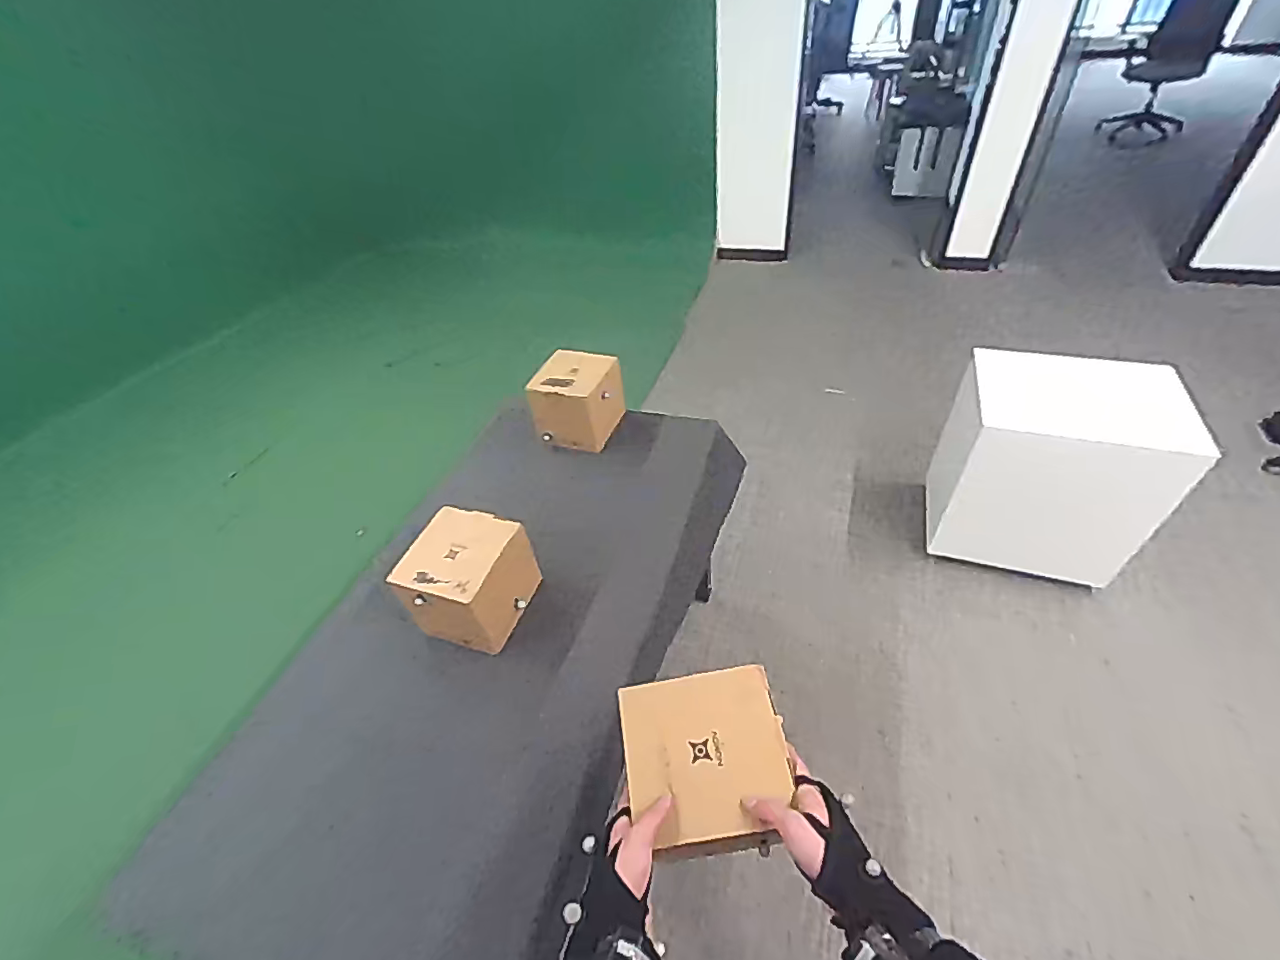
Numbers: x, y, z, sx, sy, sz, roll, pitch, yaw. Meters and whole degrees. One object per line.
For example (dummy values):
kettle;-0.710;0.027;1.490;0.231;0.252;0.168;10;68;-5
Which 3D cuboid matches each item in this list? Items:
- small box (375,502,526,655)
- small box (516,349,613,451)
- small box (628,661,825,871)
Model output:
small box;-0.313;0.170;0.940;0.168;0.176;0.179;11;45;16
small box;-0.172;-0.194;1.313;0.168;0.176;0.179;13;45;16
small box;0.091;0.334;0.626;0.179;0.176;0.168;-12;49;0
